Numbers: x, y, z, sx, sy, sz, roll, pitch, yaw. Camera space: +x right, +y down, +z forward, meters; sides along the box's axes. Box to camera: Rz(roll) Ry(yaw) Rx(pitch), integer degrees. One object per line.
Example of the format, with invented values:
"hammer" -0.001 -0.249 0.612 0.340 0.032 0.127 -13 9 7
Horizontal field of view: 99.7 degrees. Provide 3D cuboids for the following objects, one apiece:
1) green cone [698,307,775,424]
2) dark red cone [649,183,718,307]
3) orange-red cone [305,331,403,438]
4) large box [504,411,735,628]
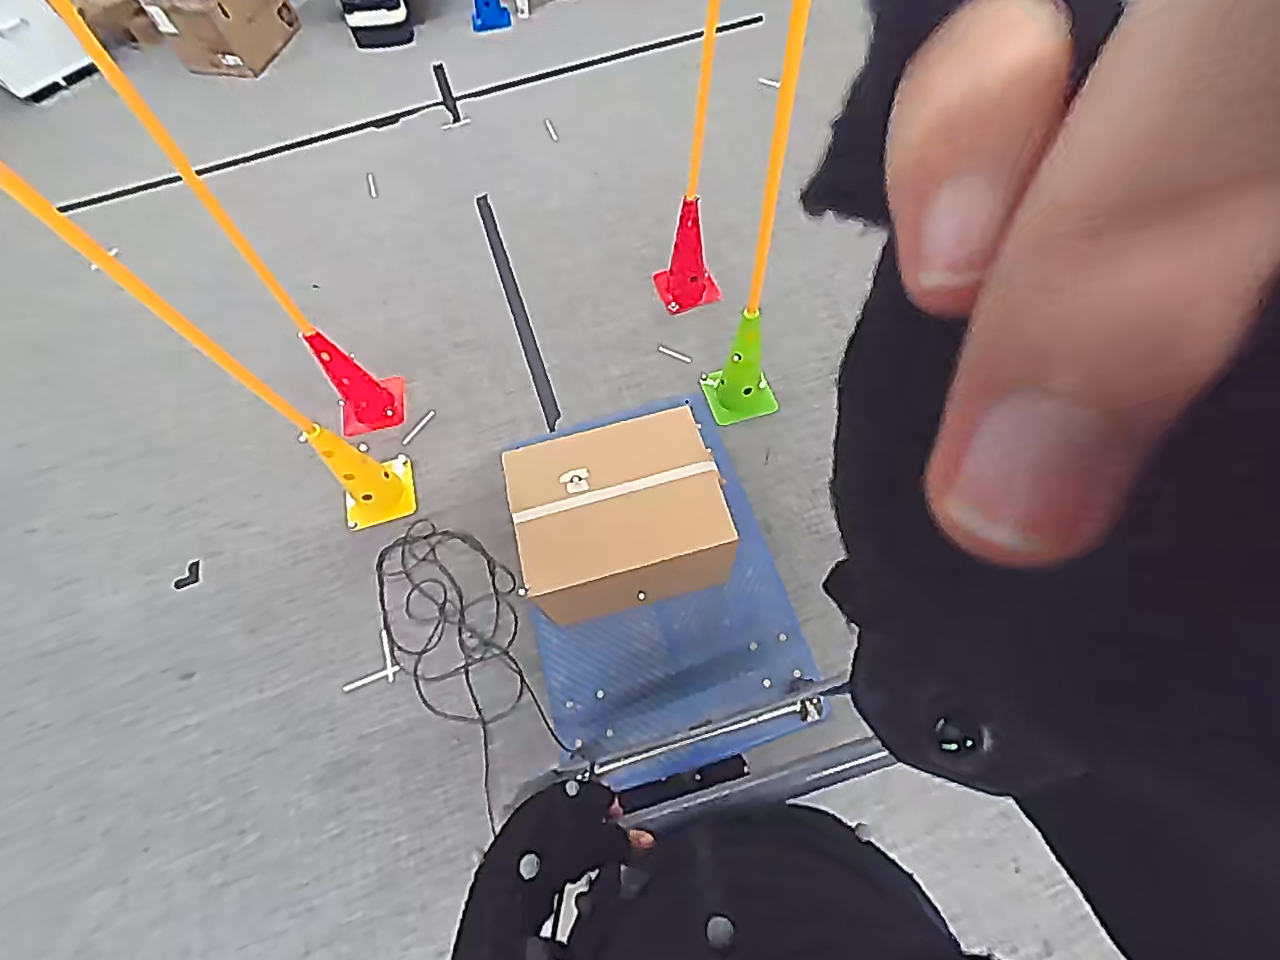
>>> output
"green cone" 0.297 -0.350 1.557 0.202 0.368 0.200 -16 64 -5
"dark red cone" 0.148 -0.768 1.755 0.201 0.394 0.202 -19 64 -8
"orange-red cone" -0.880 -0.311 1.615 0.198 0.360 0.199 -12 62 -4
"large box" -0.040 0.101 1.194 0.408 0.320 0.320 -16 64 -3
